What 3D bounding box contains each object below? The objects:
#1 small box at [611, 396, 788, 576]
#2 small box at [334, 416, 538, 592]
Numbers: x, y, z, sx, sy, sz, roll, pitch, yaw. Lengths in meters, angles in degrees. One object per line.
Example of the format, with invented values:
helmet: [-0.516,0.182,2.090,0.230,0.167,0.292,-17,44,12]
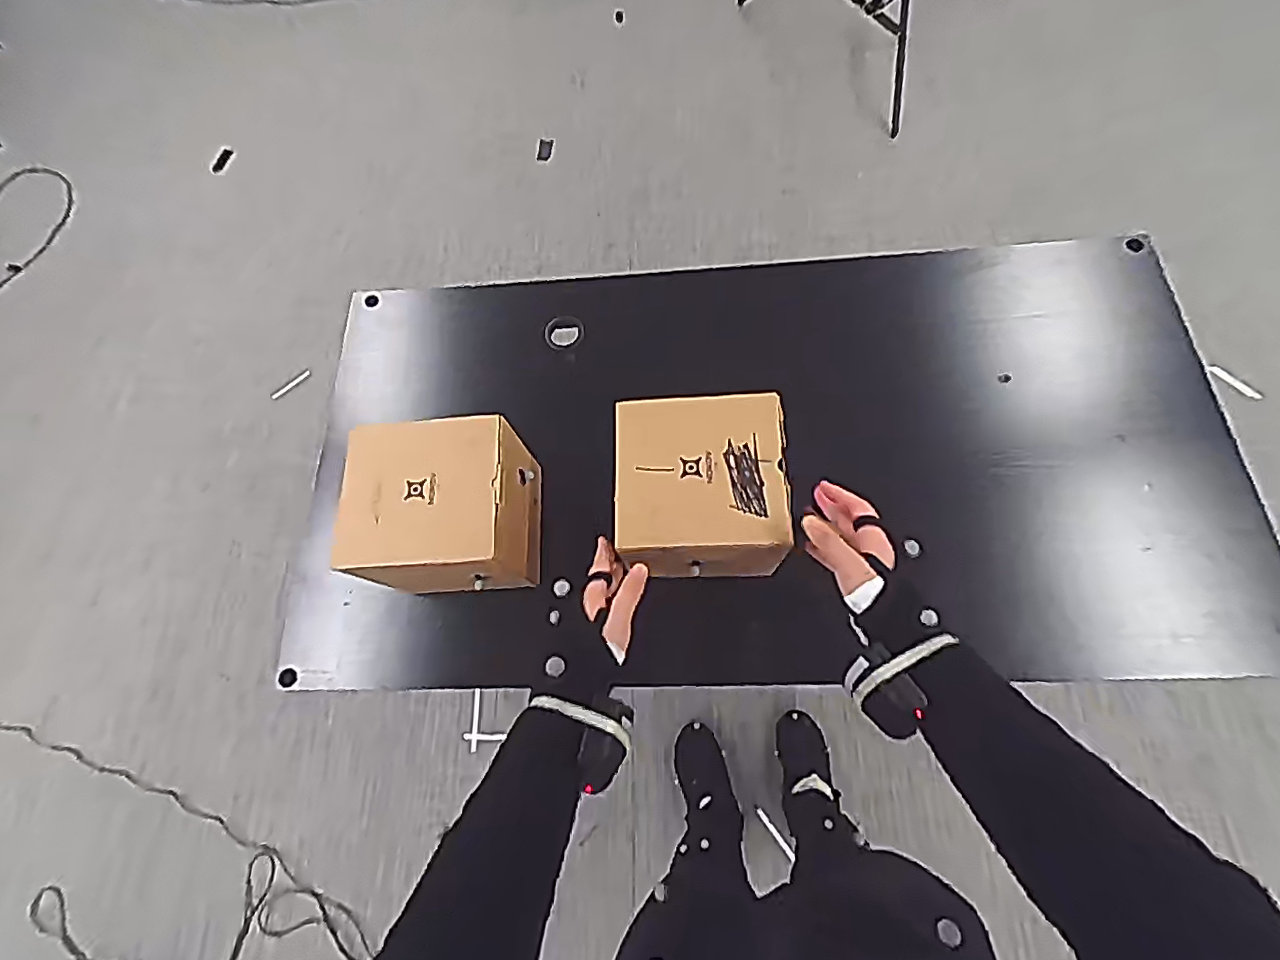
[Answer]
small box: [0.066,0.016,0.631,0.179,0.176,0.168,-2,70,6]
small box: [-0.227,0.038,0.654,0.179,0.176,0.168,-5,69,4]
